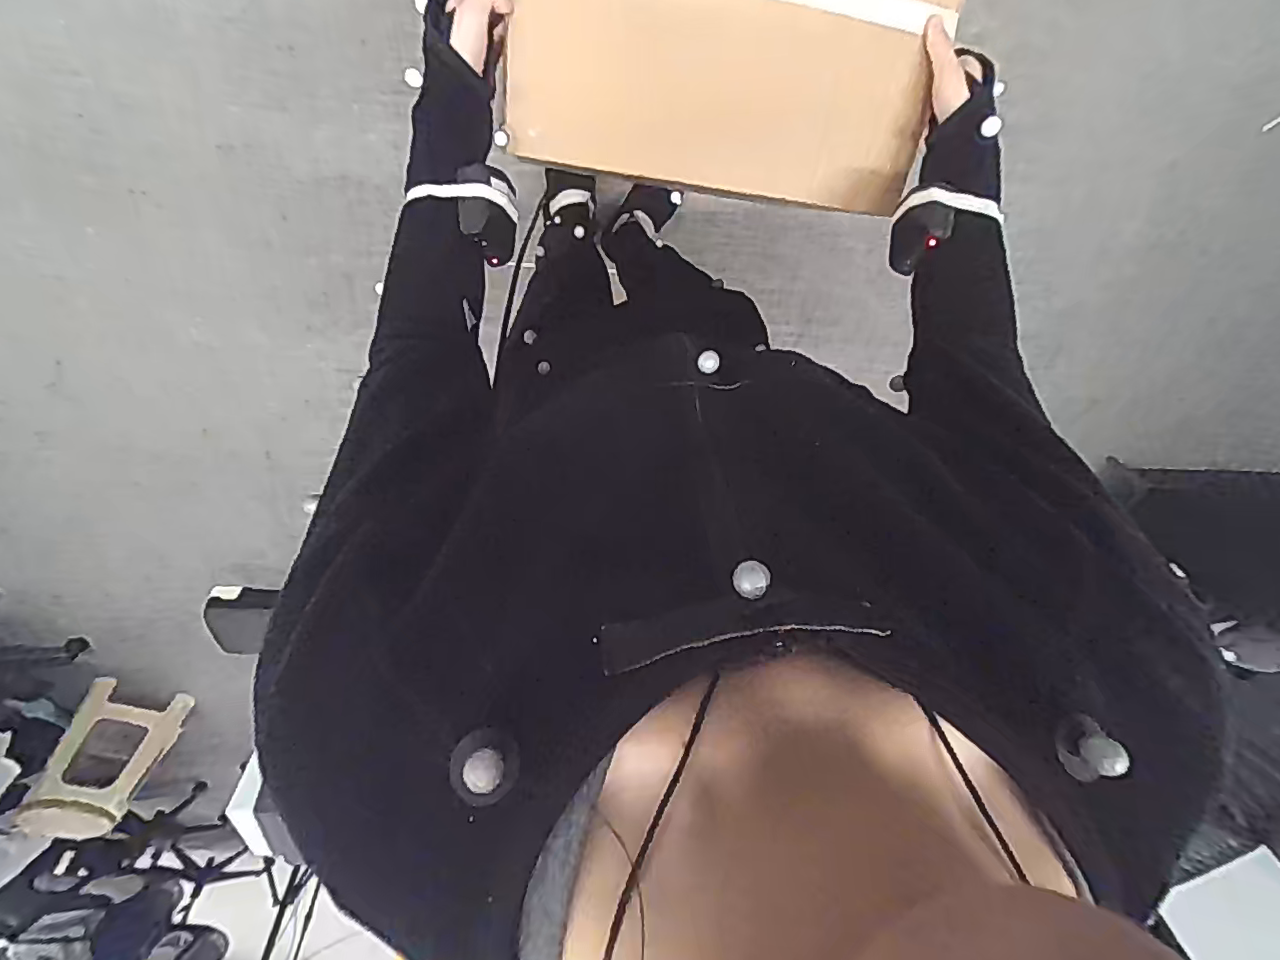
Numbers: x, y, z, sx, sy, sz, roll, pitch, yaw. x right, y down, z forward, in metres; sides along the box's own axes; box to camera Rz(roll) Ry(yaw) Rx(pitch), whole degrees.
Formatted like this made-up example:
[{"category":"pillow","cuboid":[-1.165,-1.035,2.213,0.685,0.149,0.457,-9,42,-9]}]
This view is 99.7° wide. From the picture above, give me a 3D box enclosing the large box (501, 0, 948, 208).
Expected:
[{"category":"large box","cuboid":[0.066,-0.506,0.598,0.408,0.320,0.320,3,118,-10]}]
